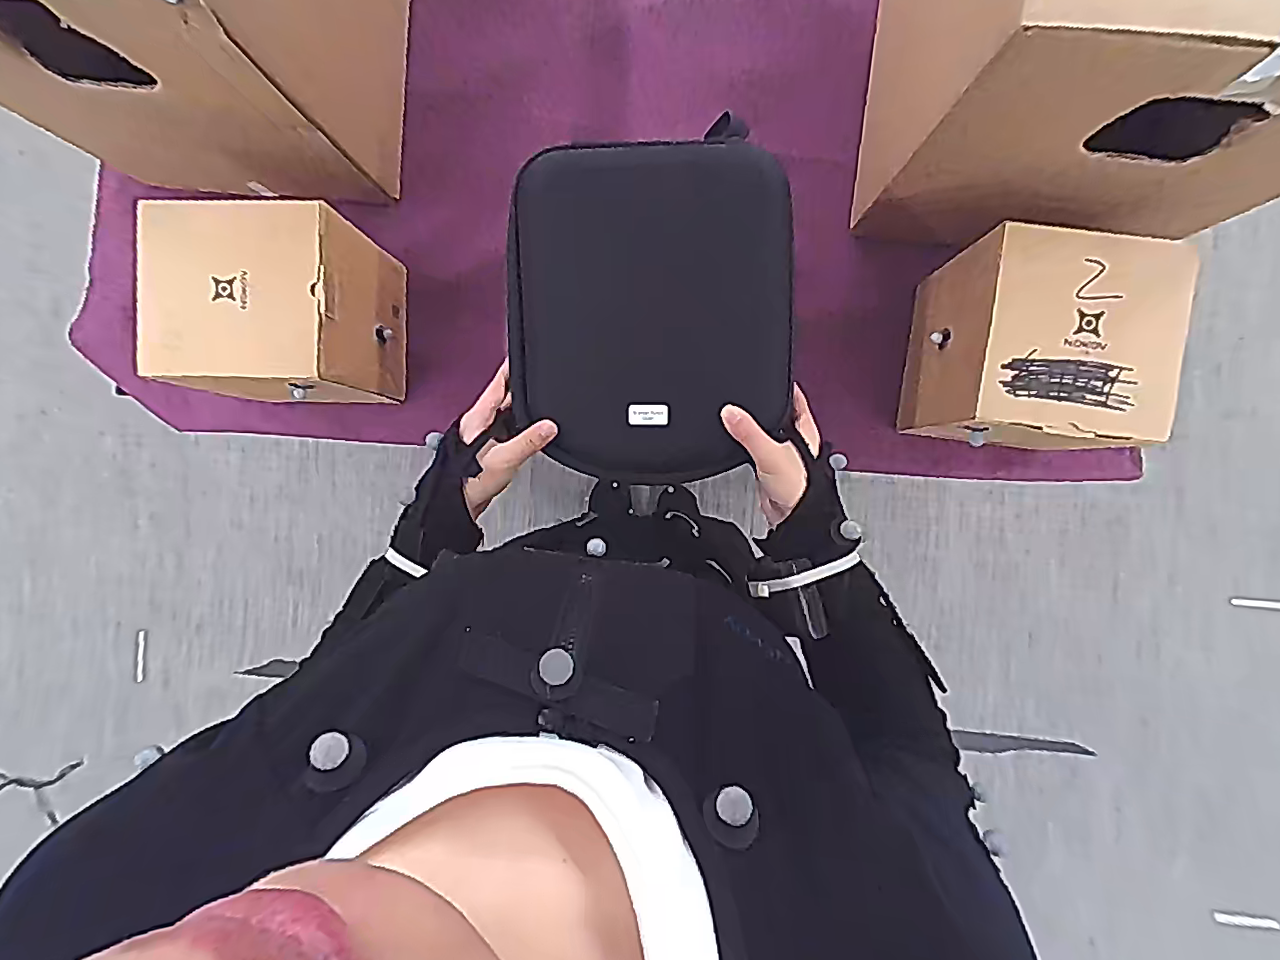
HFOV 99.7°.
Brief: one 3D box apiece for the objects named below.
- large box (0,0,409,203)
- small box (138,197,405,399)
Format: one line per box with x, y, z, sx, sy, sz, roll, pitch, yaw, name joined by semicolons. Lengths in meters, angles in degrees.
-0.427;-0.535;0.500;0.320;0.320;0.408;4;94;1;large box
-0.377;-0.179;0.580;0.179;0.176;0.168;0;91;2;small box
